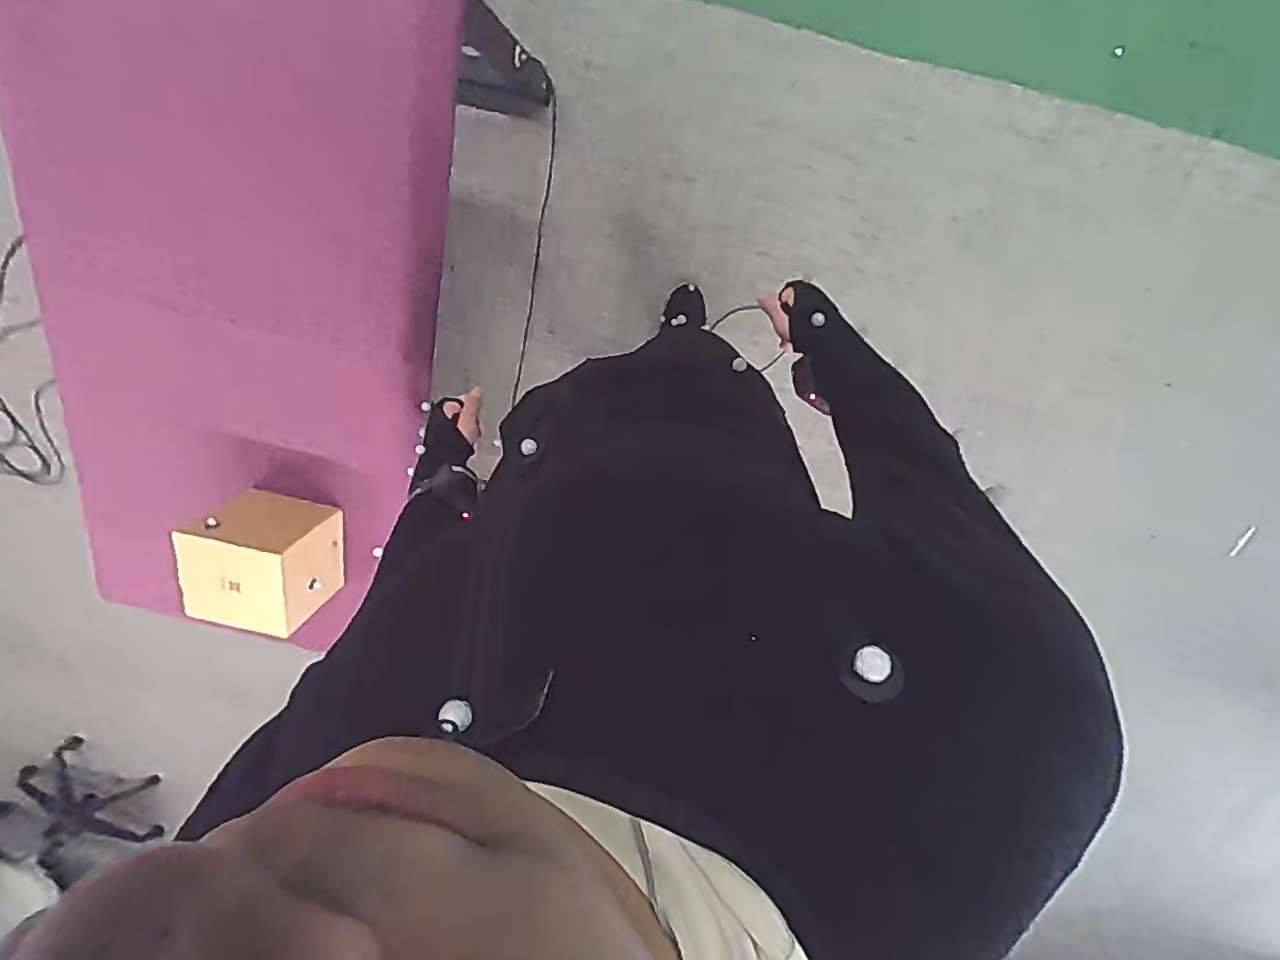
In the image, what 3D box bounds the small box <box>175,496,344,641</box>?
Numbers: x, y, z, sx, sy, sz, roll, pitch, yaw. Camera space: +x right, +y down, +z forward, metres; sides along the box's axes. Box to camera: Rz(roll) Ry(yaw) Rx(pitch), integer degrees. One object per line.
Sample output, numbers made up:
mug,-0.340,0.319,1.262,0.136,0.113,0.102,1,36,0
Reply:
small box,-0.638,0.144,0.933,0.179,0.176,0.168,13,113,1
